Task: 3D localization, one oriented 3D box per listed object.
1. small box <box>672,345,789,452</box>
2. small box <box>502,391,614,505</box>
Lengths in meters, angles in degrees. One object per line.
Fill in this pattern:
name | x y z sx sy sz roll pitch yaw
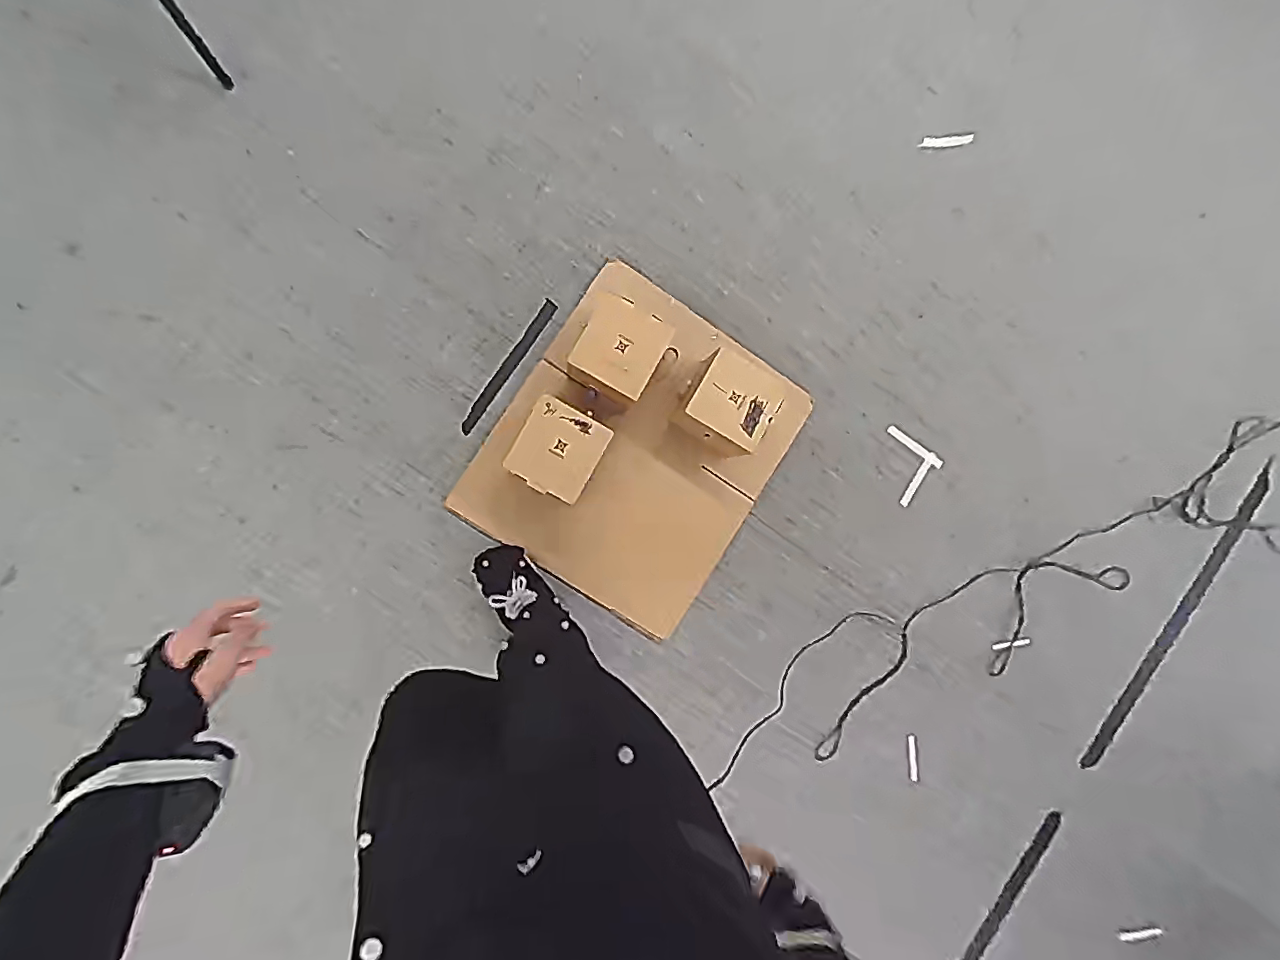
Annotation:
small box | 0.194 -0.174 1.208 0.179 0.176 0.168 30 87 -7
small box | -0.171 -0.065 1.156 0.168 0.176 0.179 29 88 -8
